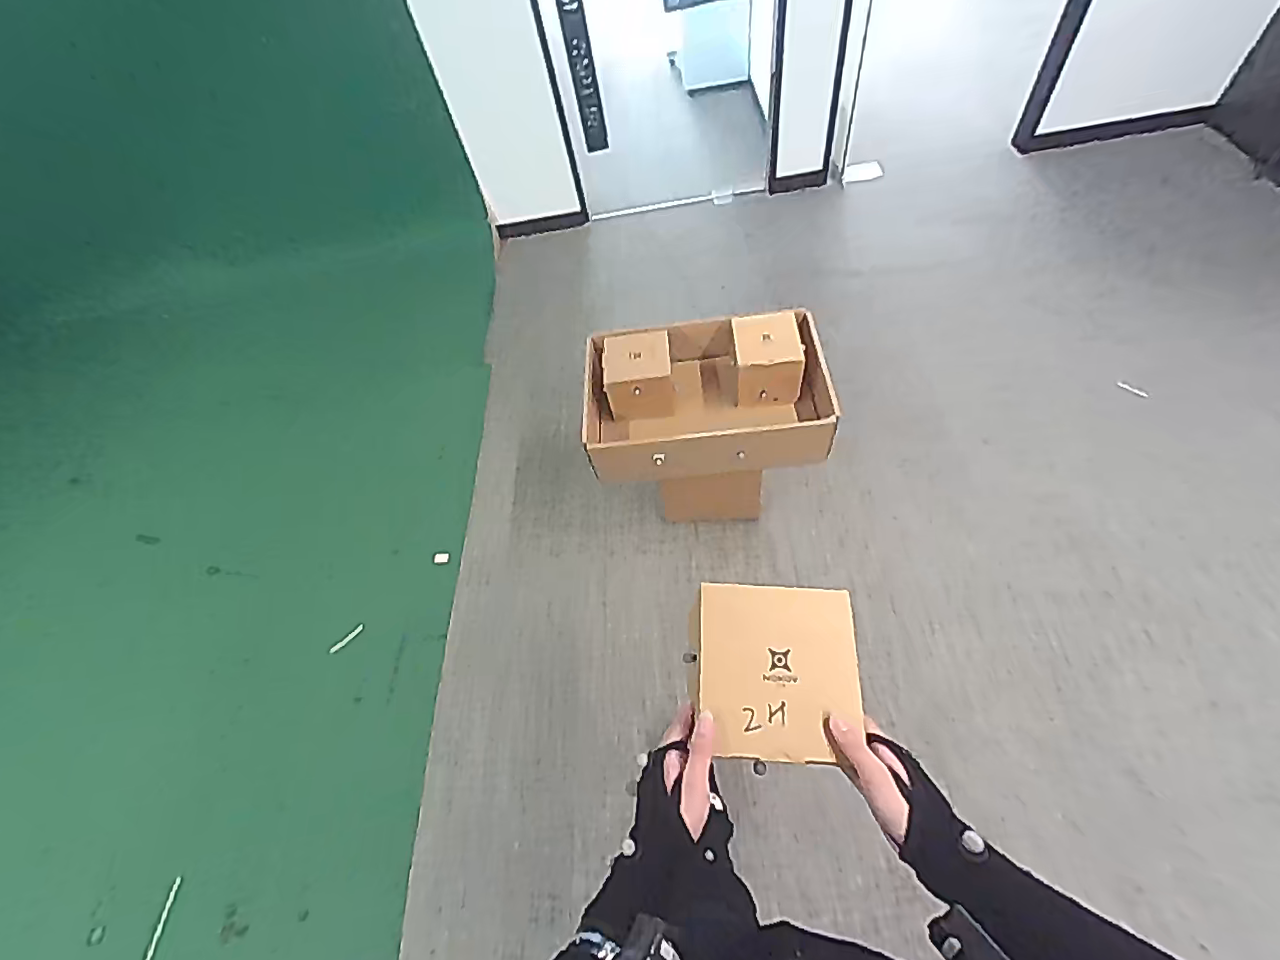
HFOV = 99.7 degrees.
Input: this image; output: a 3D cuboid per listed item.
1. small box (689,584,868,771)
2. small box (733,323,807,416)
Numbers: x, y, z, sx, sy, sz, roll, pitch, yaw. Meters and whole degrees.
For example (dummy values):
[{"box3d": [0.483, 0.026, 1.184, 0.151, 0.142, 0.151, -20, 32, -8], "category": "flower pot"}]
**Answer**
[{"box3d": [0.145, 0.234, 0.631, 0.168, 0.176, 0.179, 3, 63, 3], "category": "small box"}, {"box3d": [0.341, -0.294, 1.450, 0.168, 0.176, 0.179, -4, 57, 6], "category": "small box"}]
